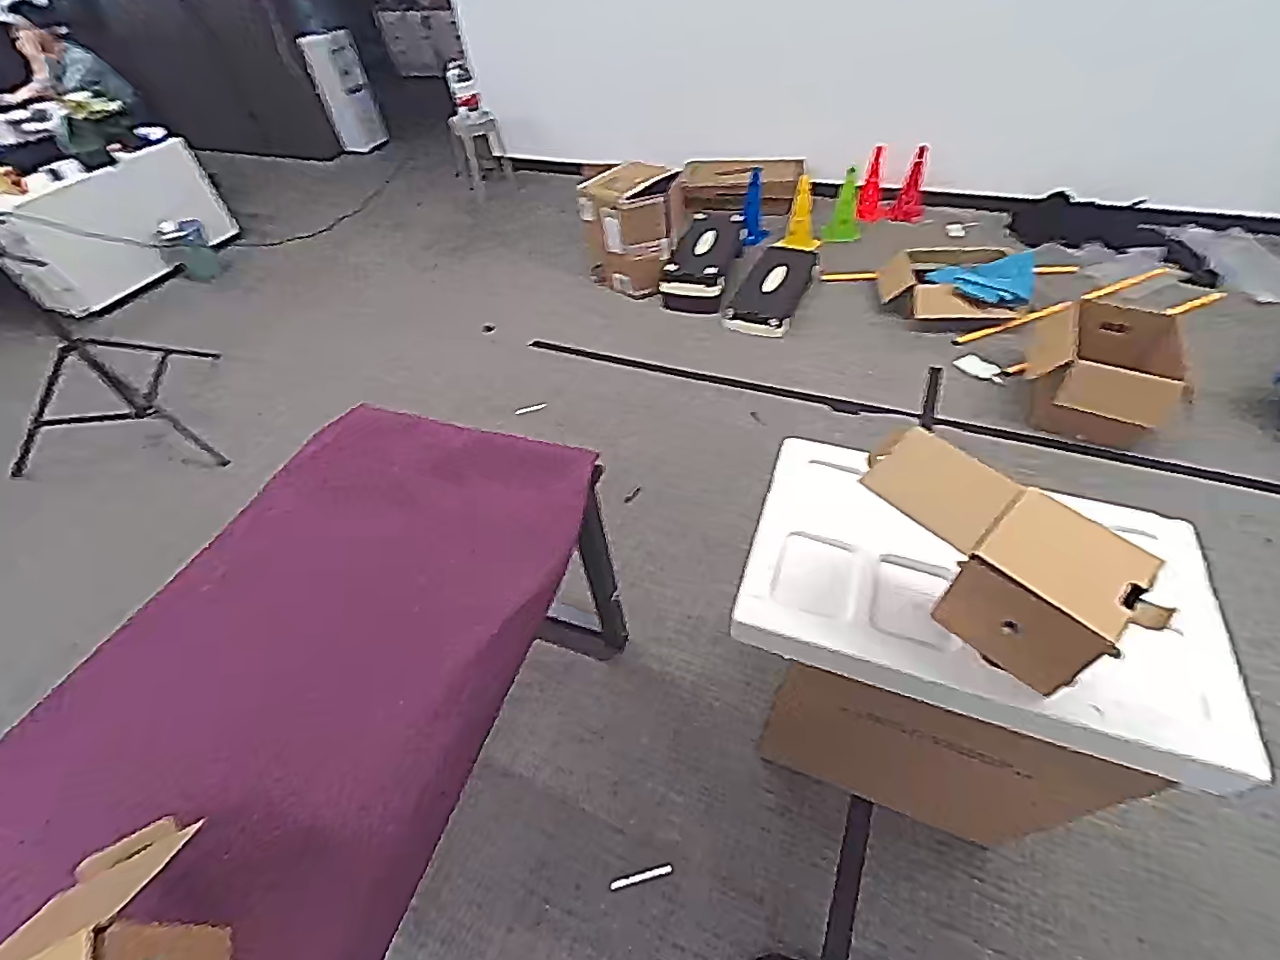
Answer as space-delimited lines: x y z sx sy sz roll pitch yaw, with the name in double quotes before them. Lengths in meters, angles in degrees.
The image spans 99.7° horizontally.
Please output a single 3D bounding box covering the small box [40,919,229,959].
"small box" -0.503 0.541 0.481 0.168 0.176 0.179 -26 50 -14
